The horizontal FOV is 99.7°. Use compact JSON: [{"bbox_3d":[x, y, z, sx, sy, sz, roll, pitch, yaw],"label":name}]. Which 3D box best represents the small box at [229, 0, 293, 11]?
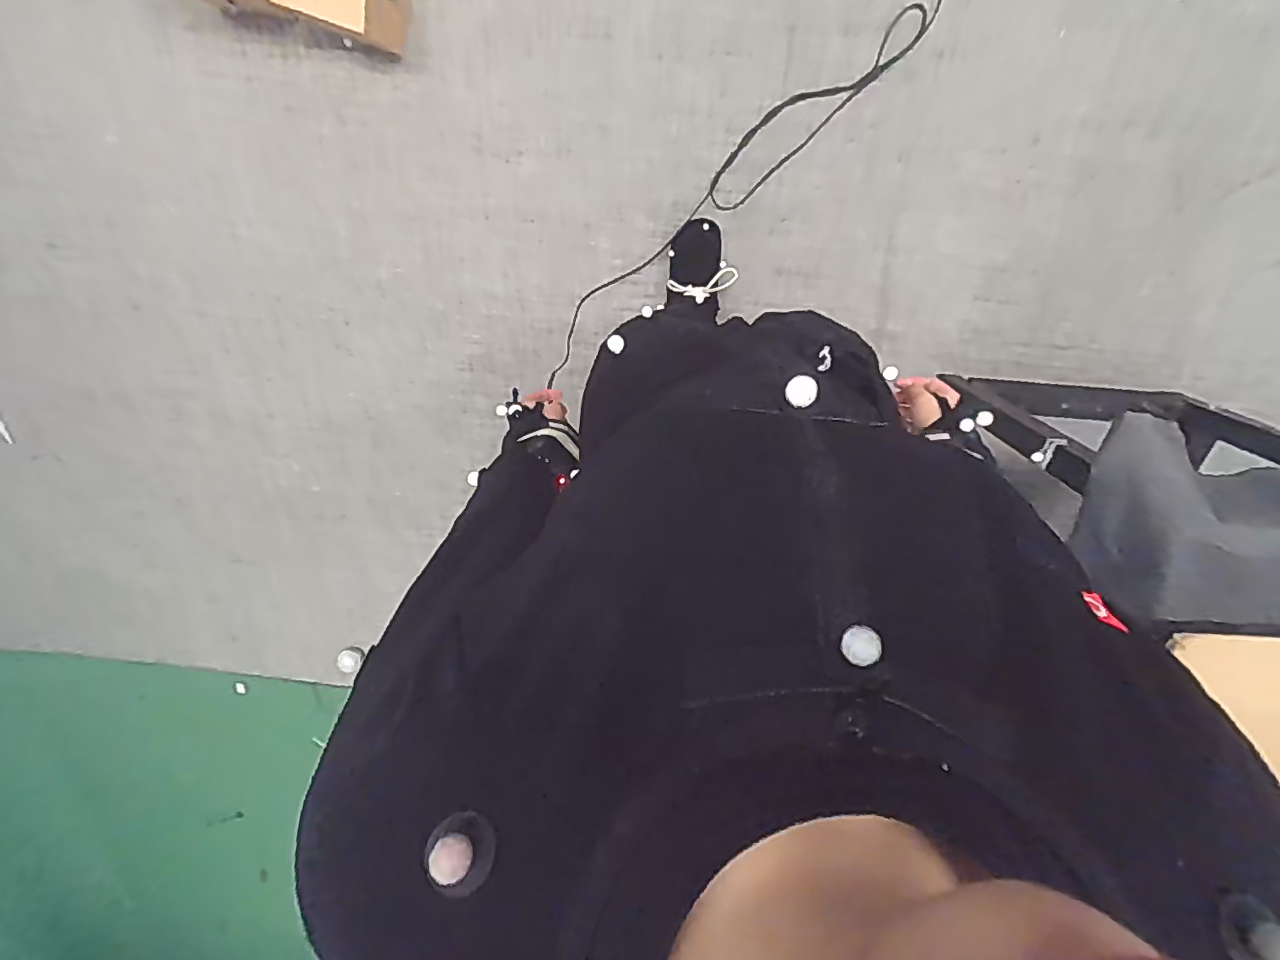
[{"bbox_3d":[-0.733,-0.949,0.931,0.168,0.176,0.179,8,117,-1],"label":"small box"}]
